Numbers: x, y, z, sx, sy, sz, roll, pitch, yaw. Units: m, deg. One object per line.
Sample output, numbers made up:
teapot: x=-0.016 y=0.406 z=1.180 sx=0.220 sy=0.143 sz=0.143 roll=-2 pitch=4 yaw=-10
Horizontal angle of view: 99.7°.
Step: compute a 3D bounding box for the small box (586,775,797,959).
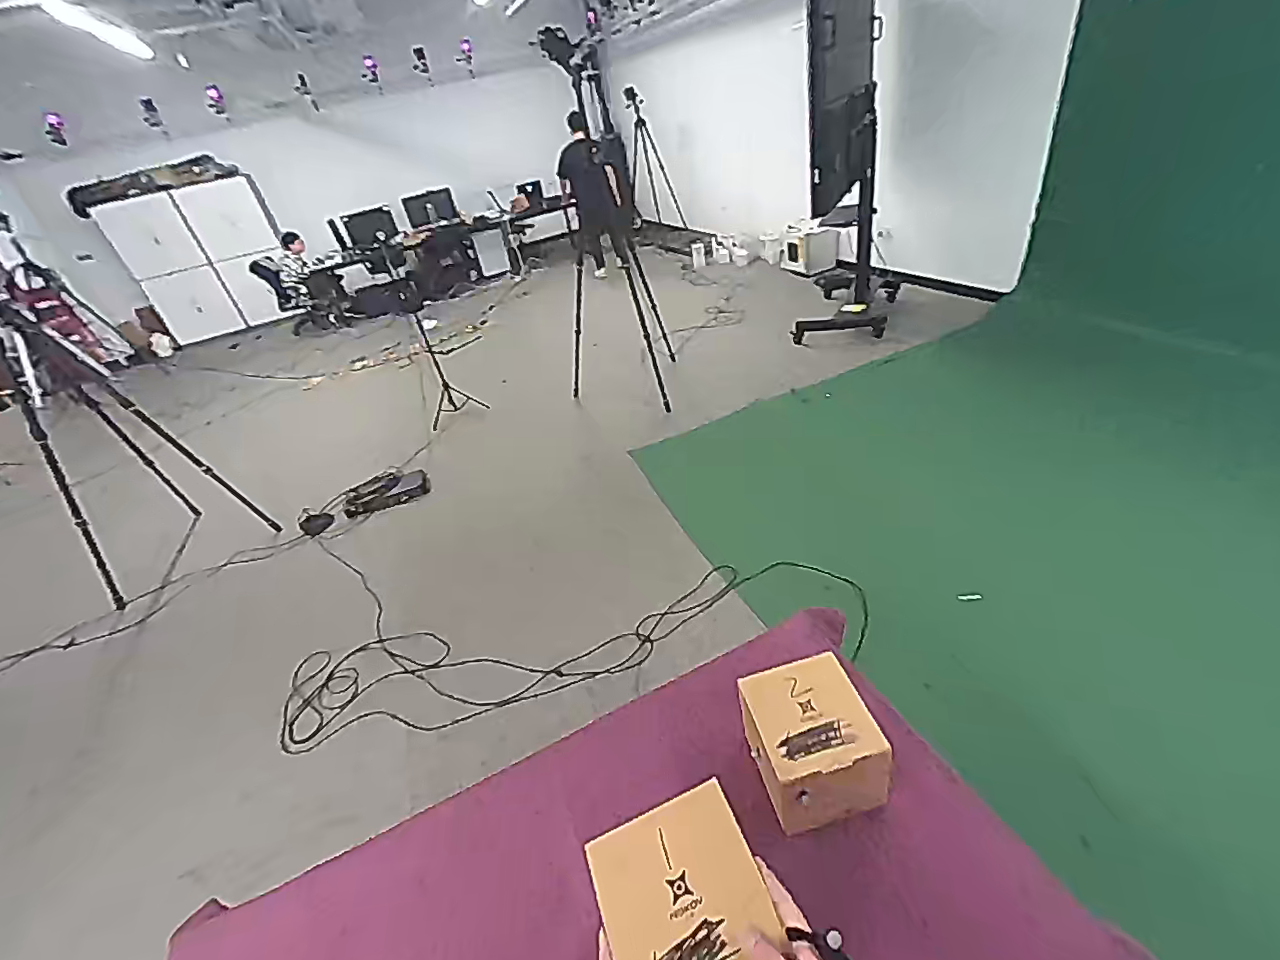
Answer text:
small box: x=0.060 y=0.472 z=0.592 sx=0.168 sy=0.176 sz=0.179 roll=-23 pitch=39 yaw=-7
